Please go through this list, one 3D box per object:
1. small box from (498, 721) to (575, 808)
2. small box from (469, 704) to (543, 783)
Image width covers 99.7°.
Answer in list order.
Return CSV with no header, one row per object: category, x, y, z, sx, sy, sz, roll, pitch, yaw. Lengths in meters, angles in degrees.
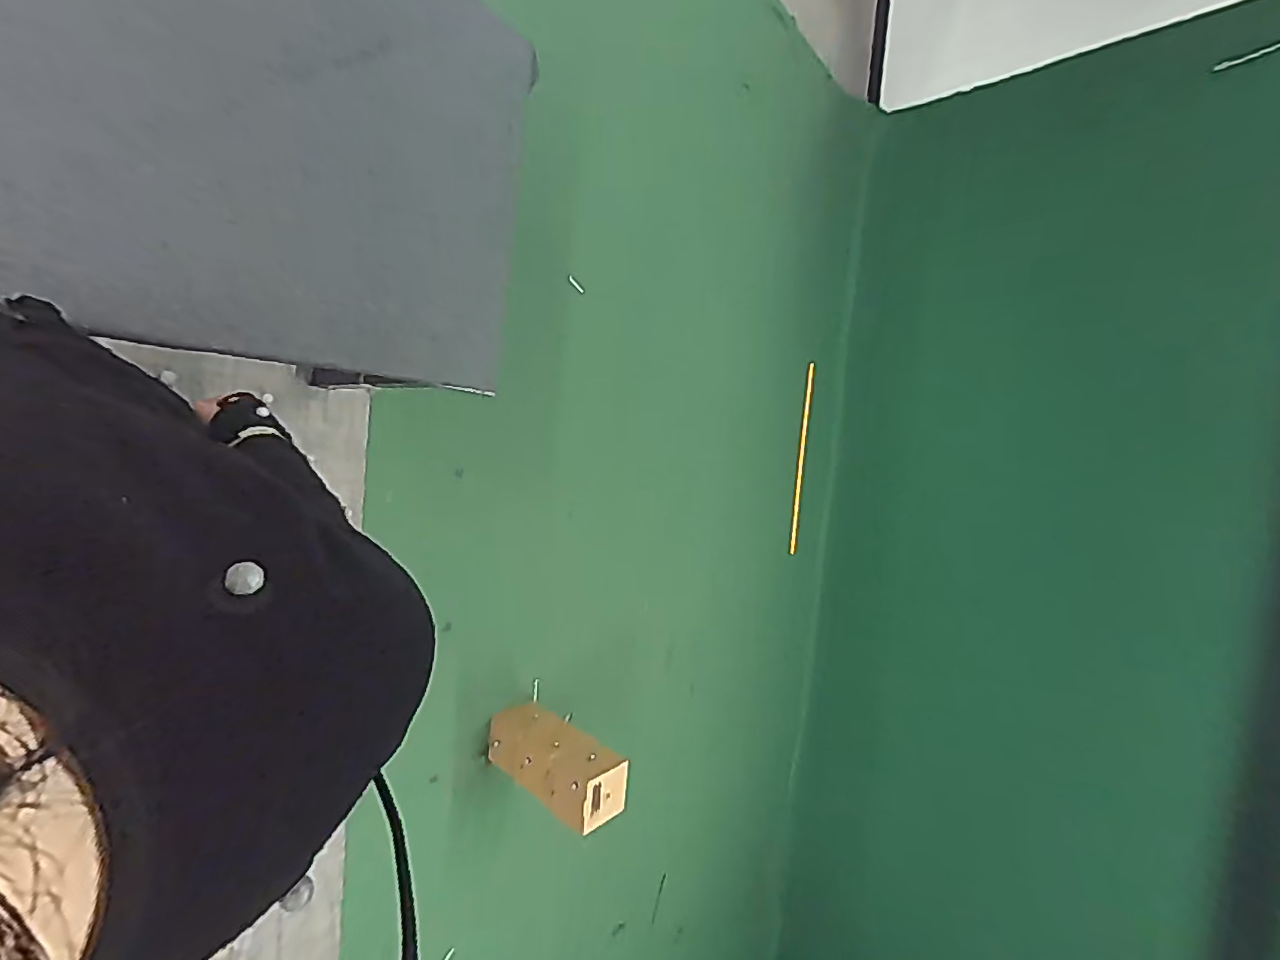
small box,-0.339,0.922,1.775,0.179,0.176,0.168,1,95,-51
small box,-0.465,0.904,1.875,0.179,0.176,0.168,3,93,-51
